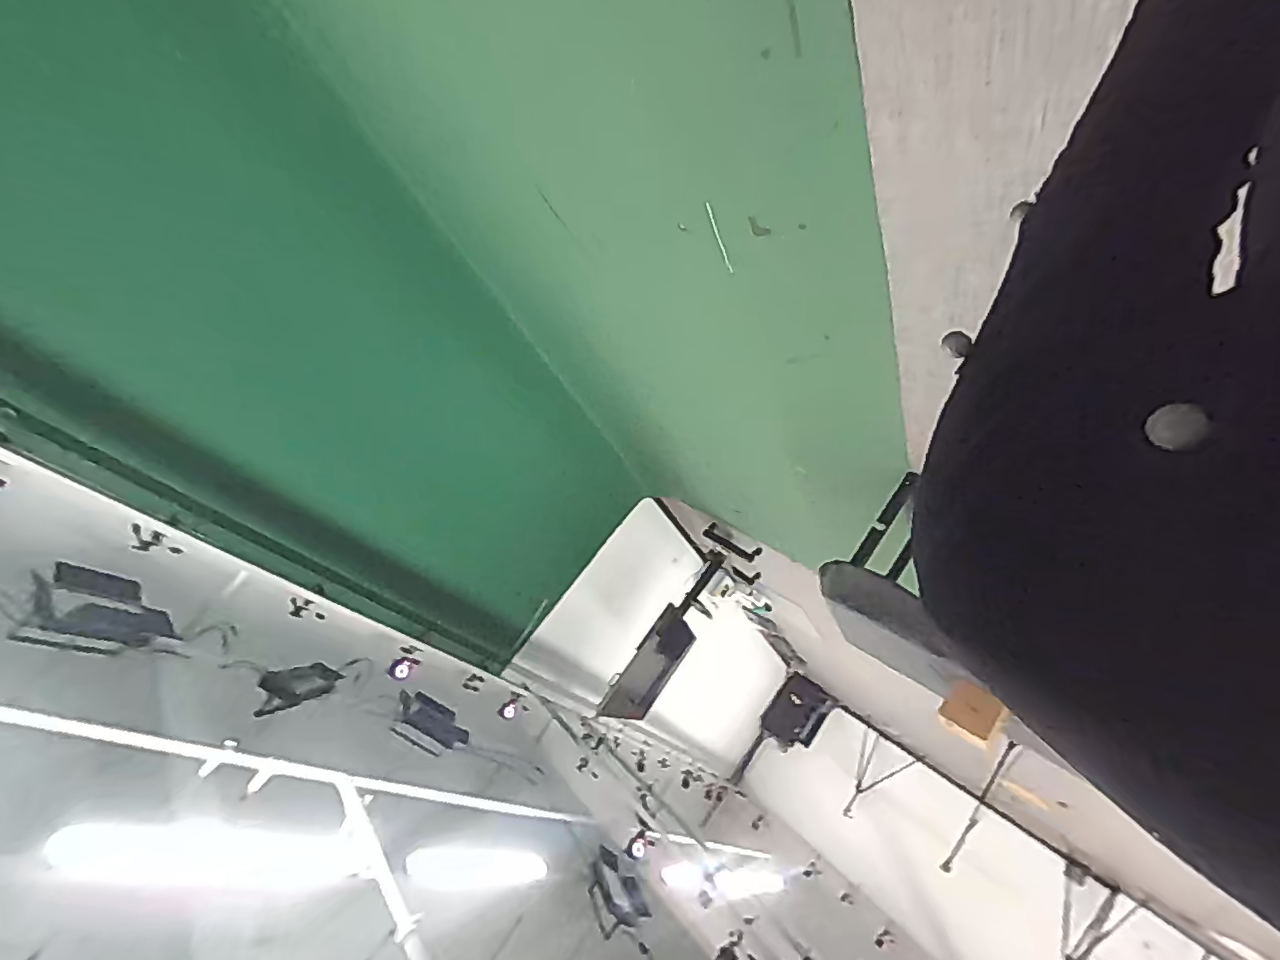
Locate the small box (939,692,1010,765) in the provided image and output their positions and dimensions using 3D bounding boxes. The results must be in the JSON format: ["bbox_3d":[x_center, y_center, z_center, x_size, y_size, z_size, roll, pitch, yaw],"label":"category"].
[{"bbox_3d":[1.256,0.923,2.030,0.179,0.176,0.168,25,161,45],"label":"small box"}]
